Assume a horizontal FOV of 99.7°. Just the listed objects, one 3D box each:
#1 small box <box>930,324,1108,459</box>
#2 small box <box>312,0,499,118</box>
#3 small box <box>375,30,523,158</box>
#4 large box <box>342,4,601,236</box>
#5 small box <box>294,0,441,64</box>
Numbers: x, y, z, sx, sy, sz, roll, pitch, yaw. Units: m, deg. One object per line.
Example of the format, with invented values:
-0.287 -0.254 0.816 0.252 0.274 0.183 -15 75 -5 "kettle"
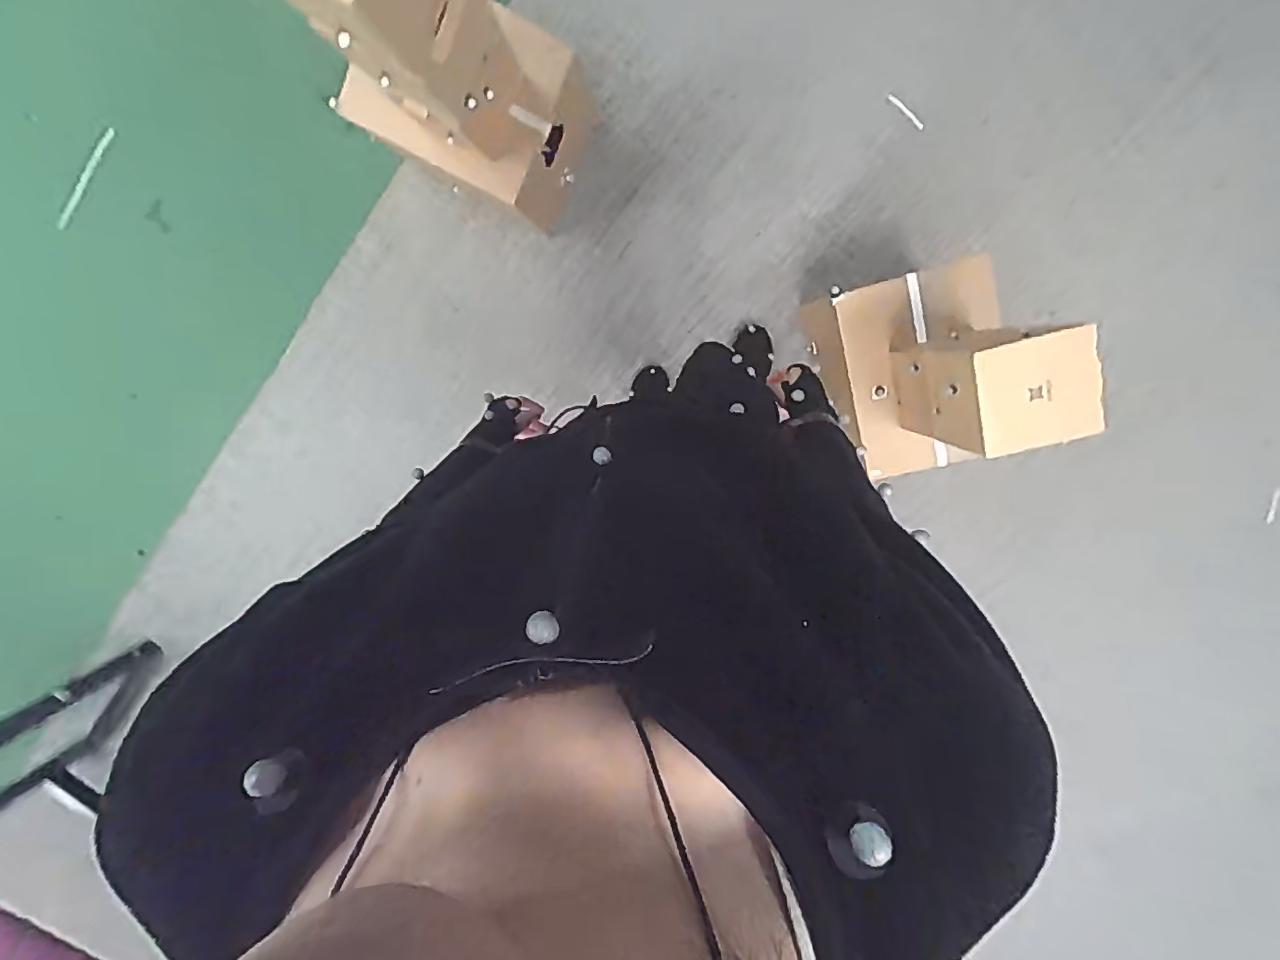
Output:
0.591 -0.142 0.868 0.179 0.176 0.168 -14 101 5 "small box"
-0.336 -0.684 0.809 0.179 0.176 0.168 26 104 -2 "small box"
-0.330 -0.719 0.969 0.168 0.176 0.179 28 103 -3 "small box"
-0.345 -0.804 1.201 0.408 0.320 0.320 27 102 -1 "large box"
-0.349 -0.650 0.648 0.179 0.176 0.168 27 103 -4 "small box"
